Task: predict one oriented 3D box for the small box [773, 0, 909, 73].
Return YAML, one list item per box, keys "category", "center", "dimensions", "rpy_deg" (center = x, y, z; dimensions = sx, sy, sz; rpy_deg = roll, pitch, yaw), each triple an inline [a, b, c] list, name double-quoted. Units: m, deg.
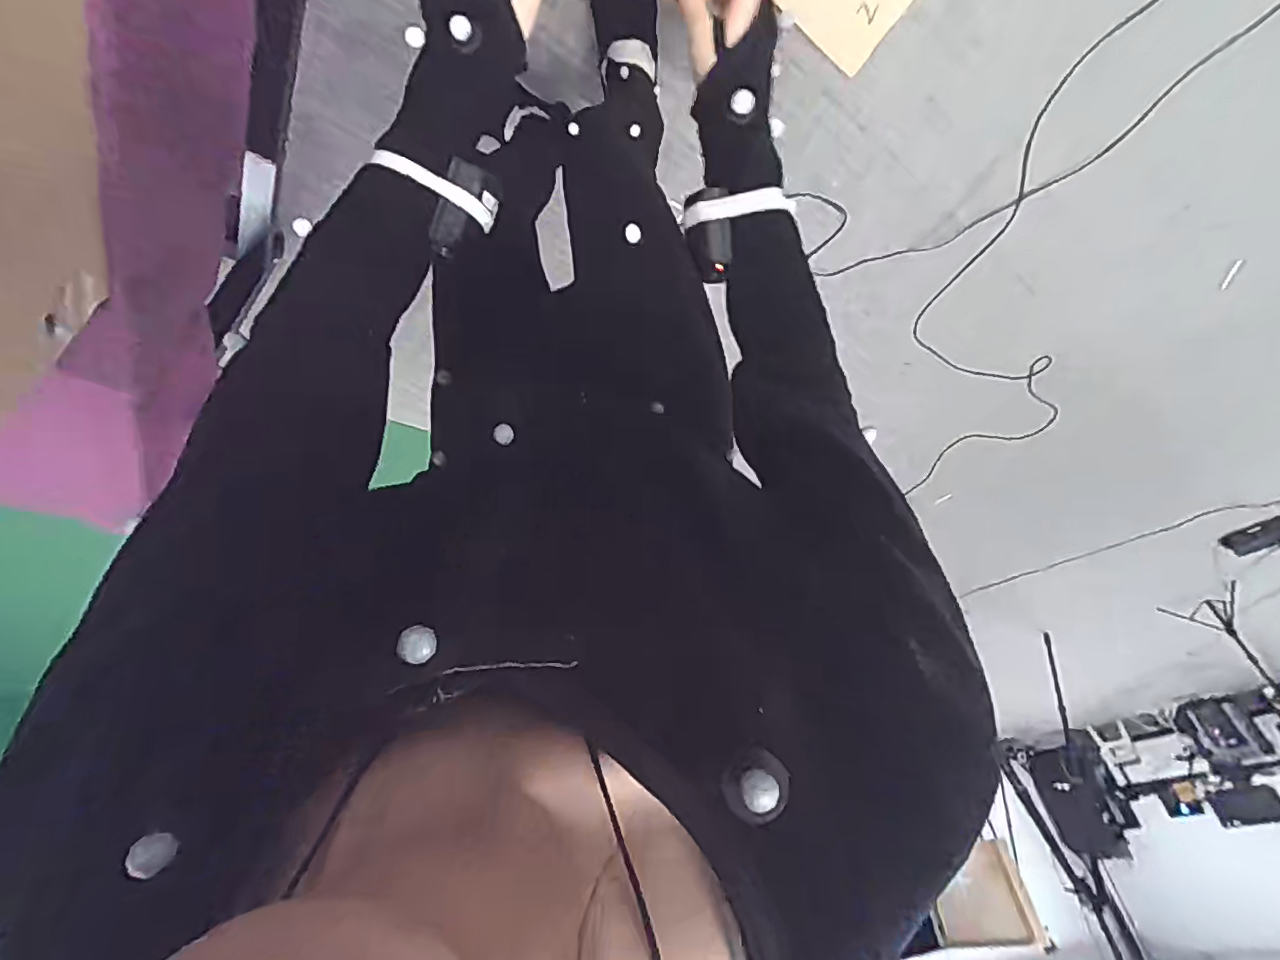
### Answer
- category: "small box"
  center: [0.214, -0.607, 0.592]
  dimensions: [0.179, 0.176, 0.168]
  rpy_deg: [20, 137, -30]
